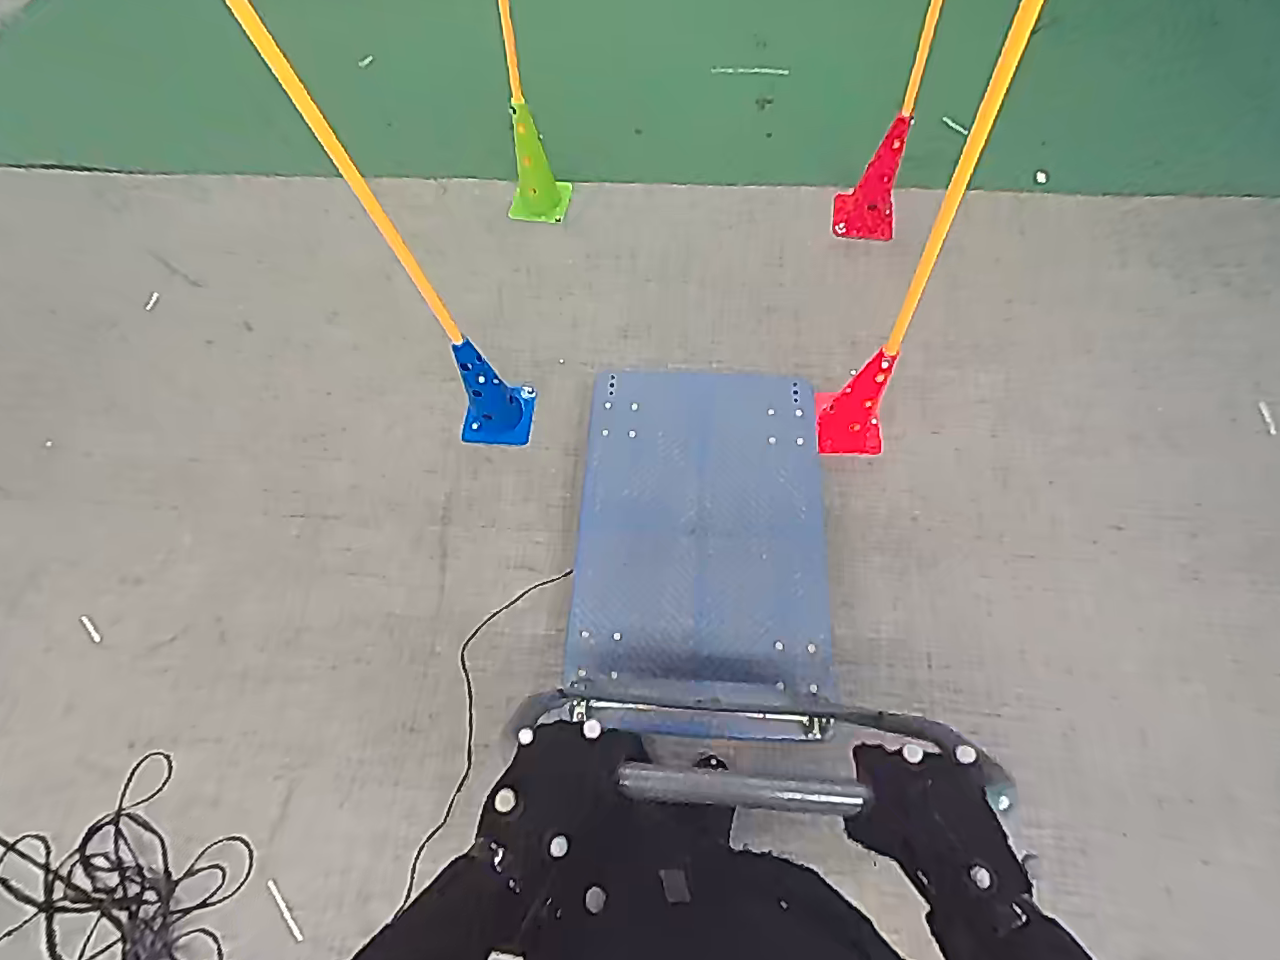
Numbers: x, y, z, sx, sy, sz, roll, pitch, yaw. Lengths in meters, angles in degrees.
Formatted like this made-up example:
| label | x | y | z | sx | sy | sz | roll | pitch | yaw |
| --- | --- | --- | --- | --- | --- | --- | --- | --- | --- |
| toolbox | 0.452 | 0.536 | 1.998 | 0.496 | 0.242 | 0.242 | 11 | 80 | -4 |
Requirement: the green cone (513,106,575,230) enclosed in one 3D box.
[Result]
| label | x | y | z | sx | sy | sz | roll | pitch | yaw |
| --- | --- | --- | --- | --- | --- | --- | --- | --- | --- |
| green cone | -0.355 | -1.056 | 1.807 | 0.202 | 0.368 | 0.200 | 7 | 67 | 6 |

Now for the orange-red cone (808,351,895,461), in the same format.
| label | x | y | z | sx | sy | sz | roll | pitch | yaw |
| --- | --- | --- | --- | --- | --- | --- | --- | --- | --- |
| orange-red cone | 0.583 | -0.213 | 1.418 | 0.199 | 0.360 | 0.198 | 2 | 66 | 5 |
